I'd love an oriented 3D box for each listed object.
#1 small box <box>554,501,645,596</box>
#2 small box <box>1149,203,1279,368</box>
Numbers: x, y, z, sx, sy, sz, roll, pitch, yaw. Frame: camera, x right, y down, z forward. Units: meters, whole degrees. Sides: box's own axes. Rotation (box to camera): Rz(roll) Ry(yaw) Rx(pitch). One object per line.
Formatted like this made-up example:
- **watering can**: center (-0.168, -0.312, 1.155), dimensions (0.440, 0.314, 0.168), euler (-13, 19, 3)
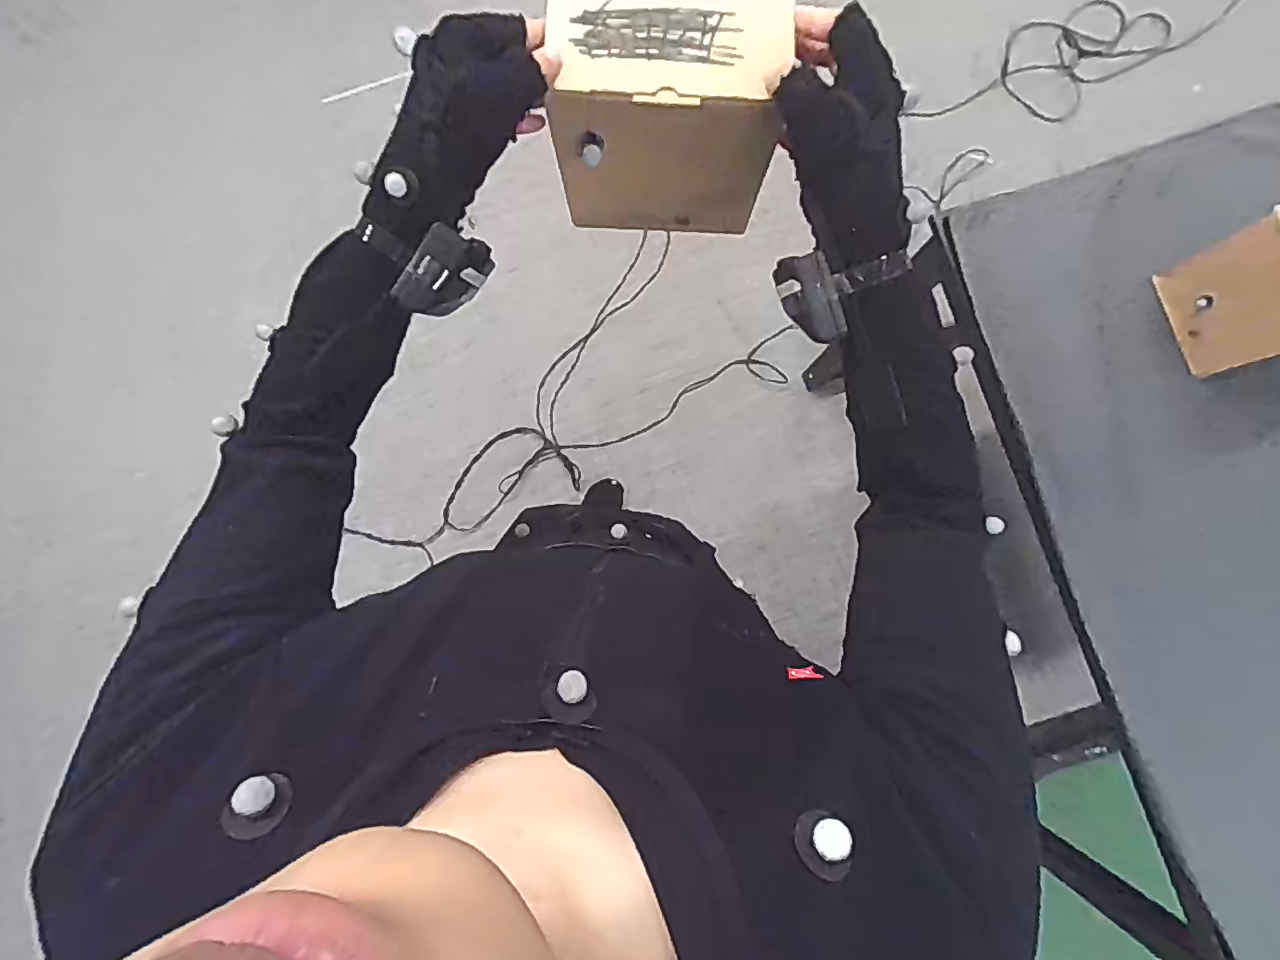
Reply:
- **small box**: center (-0.110, 0.175, 1.437), dimensions (0.168, 0.176, 0.179), euler (37, 87, -9)
- **small box**: center (0.869, -0.272, 0.734), dimensions (0.179, 0.176, 0.168), euler (-17, 84, -2)
